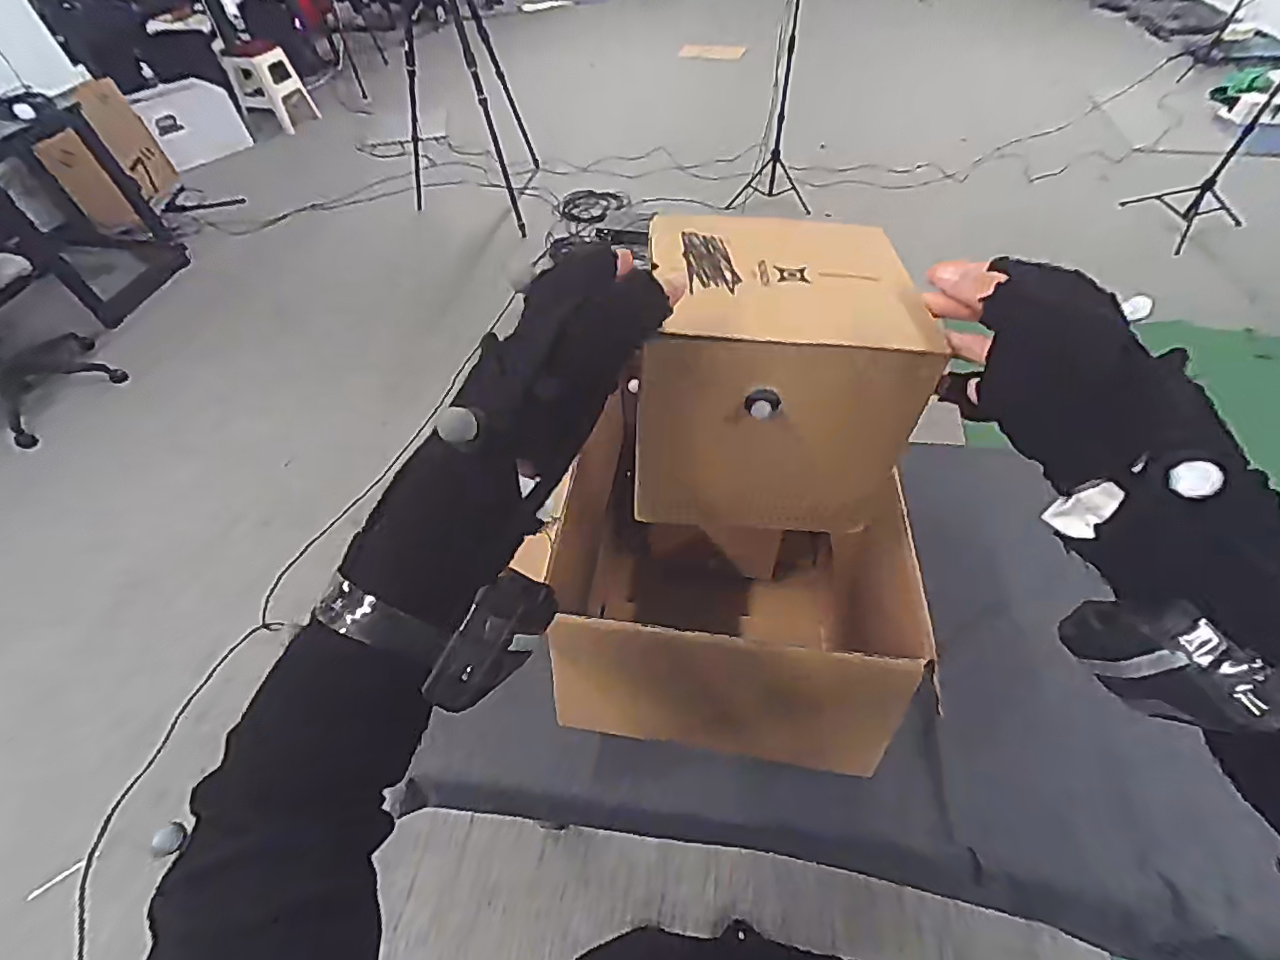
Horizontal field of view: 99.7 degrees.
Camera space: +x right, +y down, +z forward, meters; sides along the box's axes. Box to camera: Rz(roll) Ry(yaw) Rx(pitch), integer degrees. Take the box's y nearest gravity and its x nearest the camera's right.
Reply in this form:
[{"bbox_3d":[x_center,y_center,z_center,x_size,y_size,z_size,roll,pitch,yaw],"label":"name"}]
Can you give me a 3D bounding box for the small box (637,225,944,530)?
[{"bbox_3d":[0.089,-0.076,0.418,0.179,0.176,0.168,4,47,1],"label":"small box"}]
